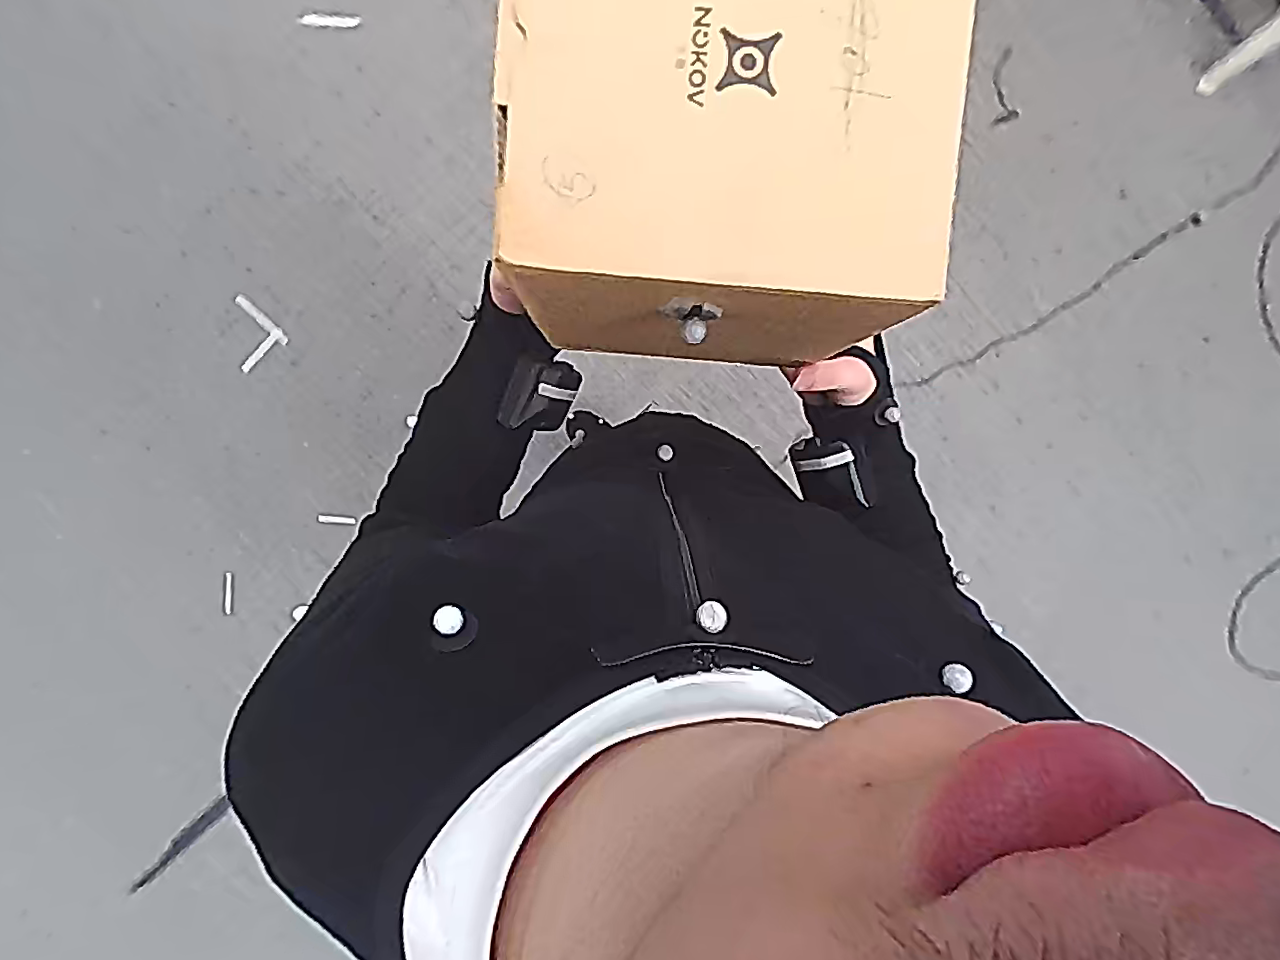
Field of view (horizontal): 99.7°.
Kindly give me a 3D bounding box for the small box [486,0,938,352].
[{"bbox_3d":[0.028,-0.170,0.294,0.179,0.176,0.168,4,94,-2],"label":"small box"}]
